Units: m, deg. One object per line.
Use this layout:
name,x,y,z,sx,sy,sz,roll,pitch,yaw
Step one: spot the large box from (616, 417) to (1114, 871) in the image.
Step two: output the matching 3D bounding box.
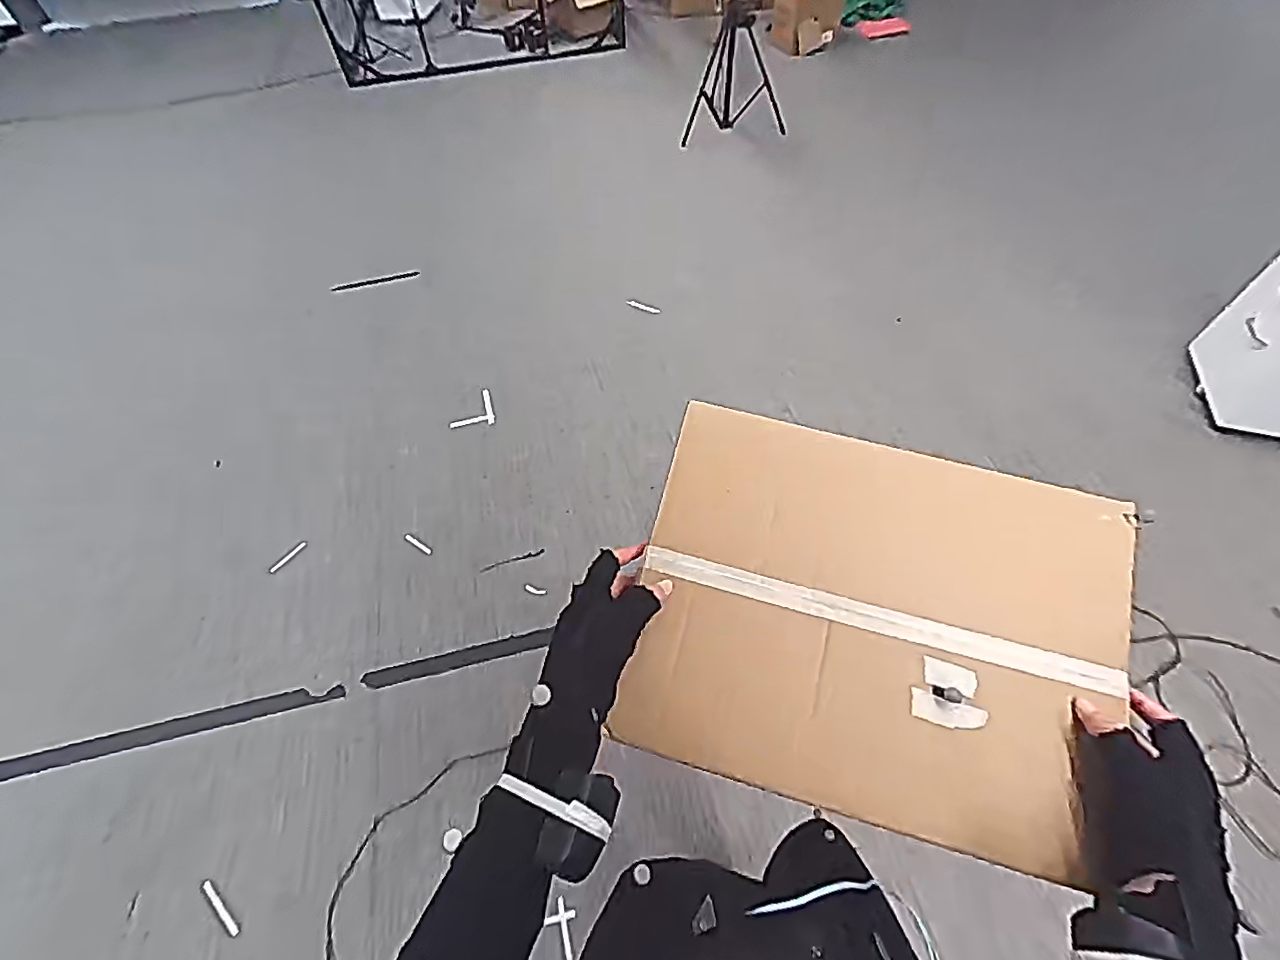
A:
large box,0.212,0.161,0.628,0.408,0.320,0.320,15,77,7
